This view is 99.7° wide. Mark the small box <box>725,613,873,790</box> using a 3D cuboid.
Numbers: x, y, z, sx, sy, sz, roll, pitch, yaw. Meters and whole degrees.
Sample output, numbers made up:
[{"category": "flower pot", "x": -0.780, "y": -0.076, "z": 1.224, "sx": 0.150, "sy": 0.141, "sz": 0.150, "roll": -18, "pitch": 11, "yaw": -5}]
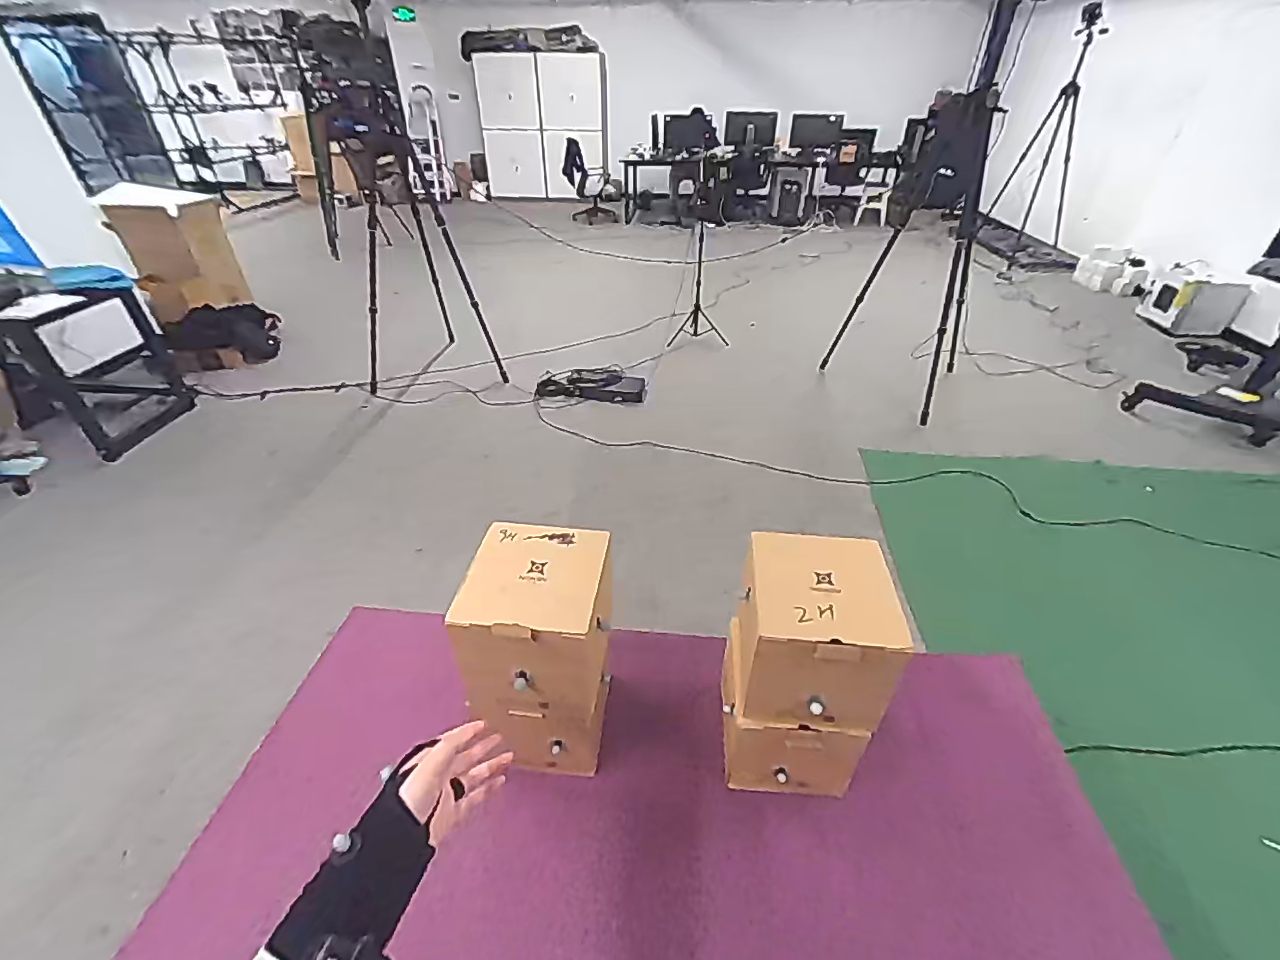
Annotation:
[{"category": "small box", "x": 0.216, "y": 0.320, "z": 0.790, "sx": 0.168, "sy": 0.176, "sz": 0.179, "roll": 2, "pitch": 38, "yaw": 4}]

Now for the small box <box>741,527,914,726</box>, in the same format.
[{"category": "small box", "x": 0.222, "y": 0.184, "z": 0.696, "sx": 0.168, "sy": 0.176, "sz": 0.179, "roll": 3, "pitch": 38, "yaw": 6}]

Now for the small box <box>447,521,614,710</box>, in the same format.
[{"category": "small box", "x": -0.128, "y": 0.178, "z": 0.712, "sx": 0.168, "sy": 0.176, "sz": 0.179, "roll": 4, "pitch": 38, "yaw": 5}]

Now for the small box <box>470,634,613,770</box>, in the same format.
[{"category": "small box", "x": -0.133, "y": 0.308, "z": 0.814, "sx": 0.168, "sy": 0.176, "sz": 0.179, "roll": 4, "pitch": 37, "yaw": 5}]
